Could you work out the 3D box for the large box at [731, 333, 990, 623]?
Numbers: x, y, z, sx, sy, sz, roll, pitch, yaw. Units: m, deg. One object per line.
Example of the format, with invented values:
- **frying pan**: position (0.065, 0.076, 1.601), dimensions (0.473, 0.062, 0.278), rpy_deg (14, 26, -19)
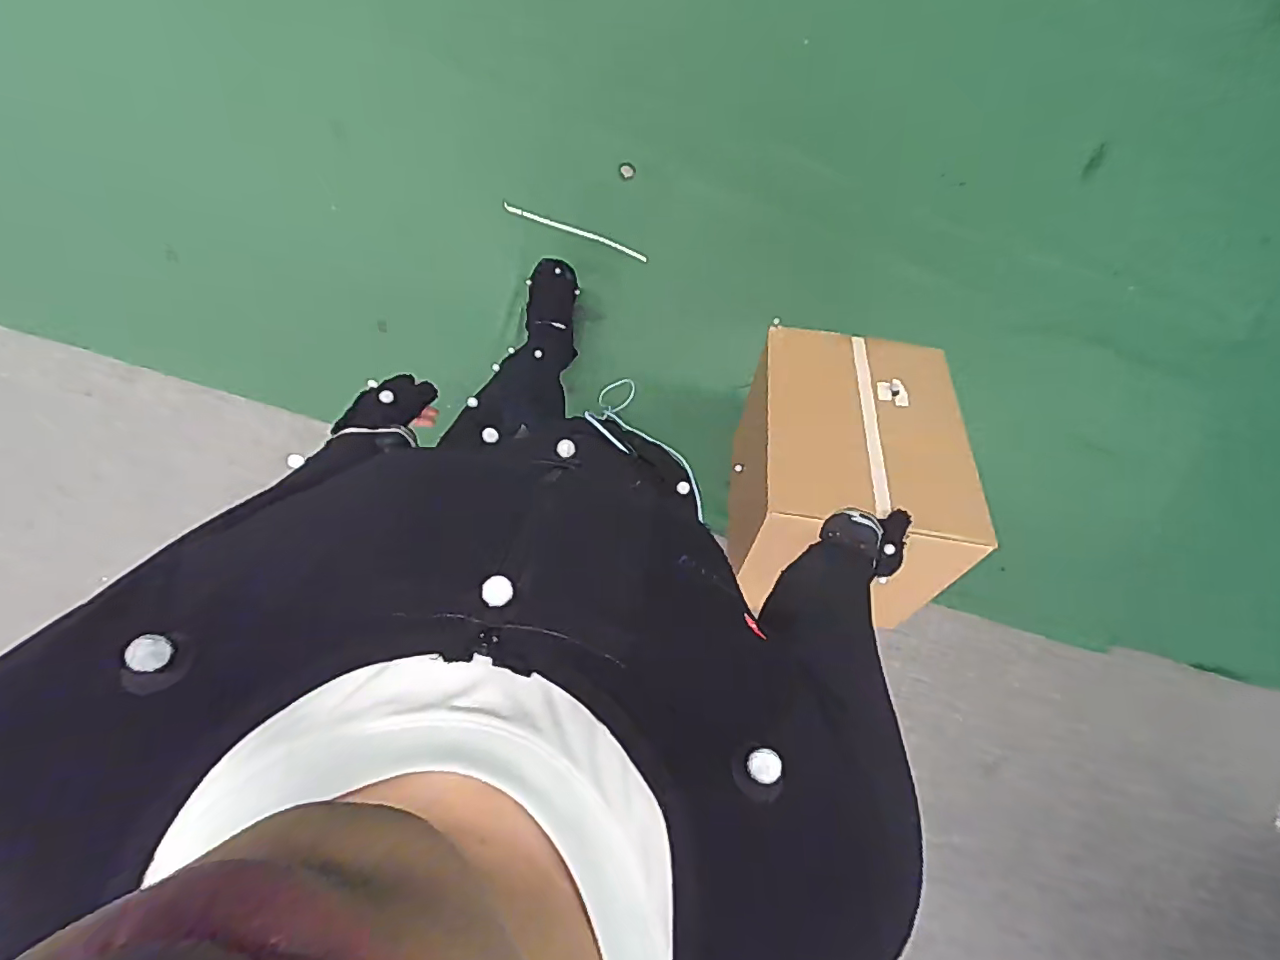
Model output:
- **large box**: position (0.350, 0.000, 0.981), dimensions (0.320, 0.408, 0.320), rpy_deg (10, 144, 1)
